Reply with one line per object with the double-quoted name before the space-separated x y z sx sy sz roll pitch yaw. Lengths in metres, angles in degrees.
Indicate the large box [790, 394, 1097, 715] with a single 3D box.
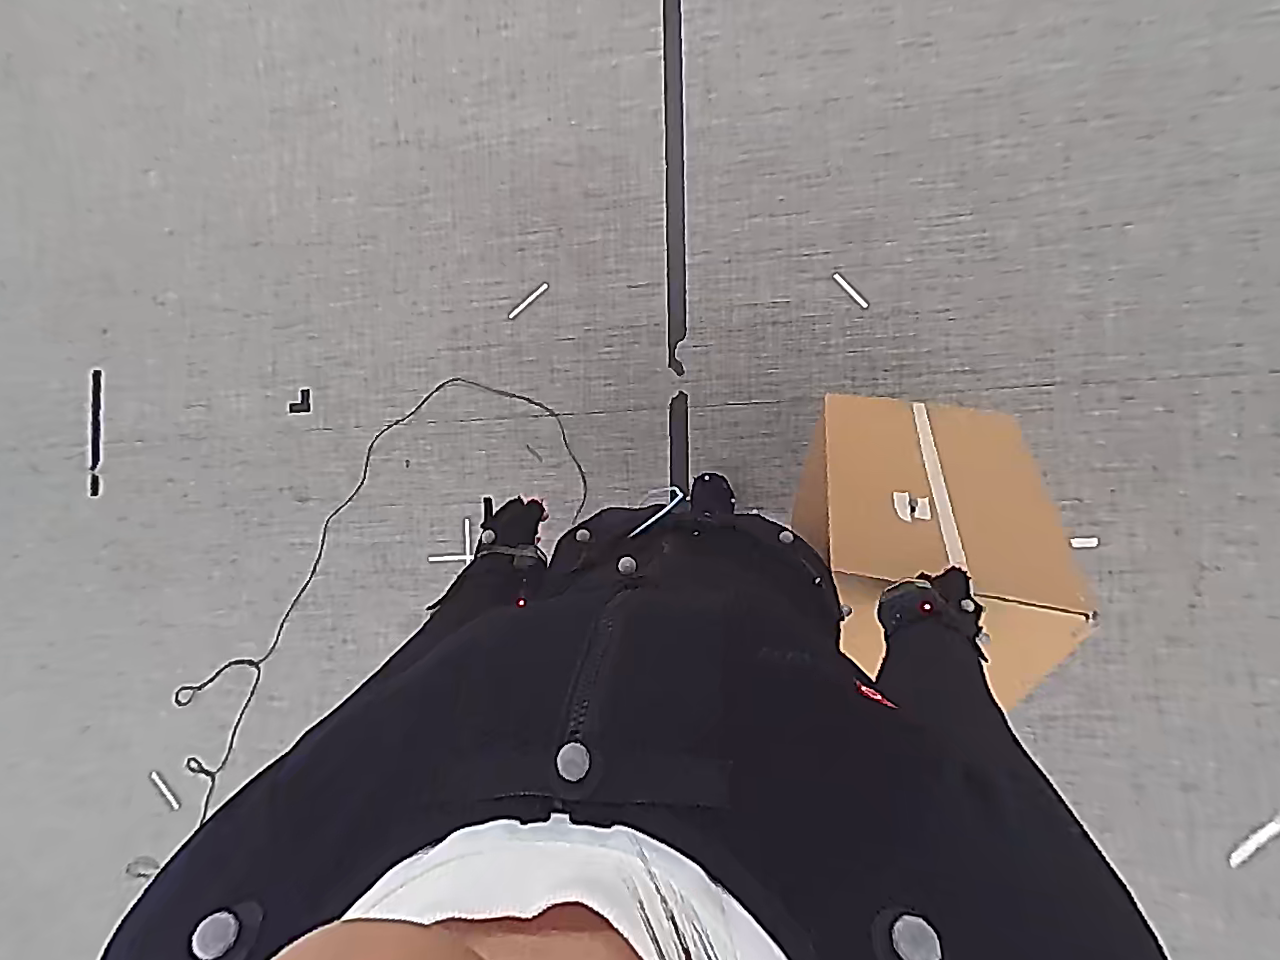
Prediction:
"large box" 0.436 0.111 0.907 0.320 0.408 0.320 8 136 10
